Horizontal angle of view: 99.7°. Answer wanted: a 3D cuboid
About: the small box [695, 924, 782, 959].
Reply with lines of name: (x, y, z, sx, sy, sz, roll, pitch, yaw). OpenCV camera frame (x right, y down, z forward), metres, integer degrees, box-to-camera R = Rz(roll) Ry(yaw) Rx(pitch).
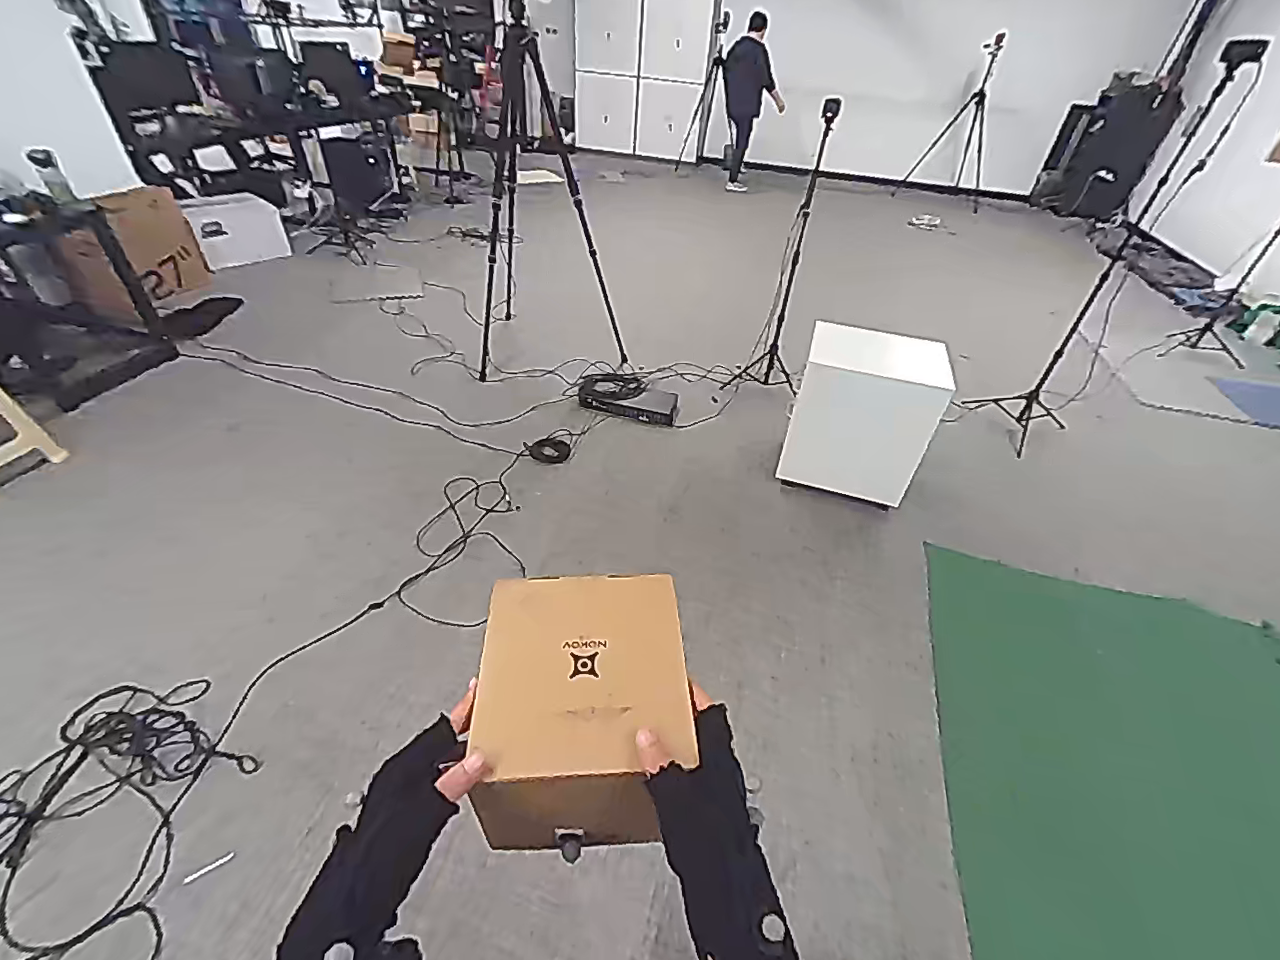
small box: (0.177, 1.010, 1.037, 0.168, 0.176, 0.179, 18, 42, 14)
